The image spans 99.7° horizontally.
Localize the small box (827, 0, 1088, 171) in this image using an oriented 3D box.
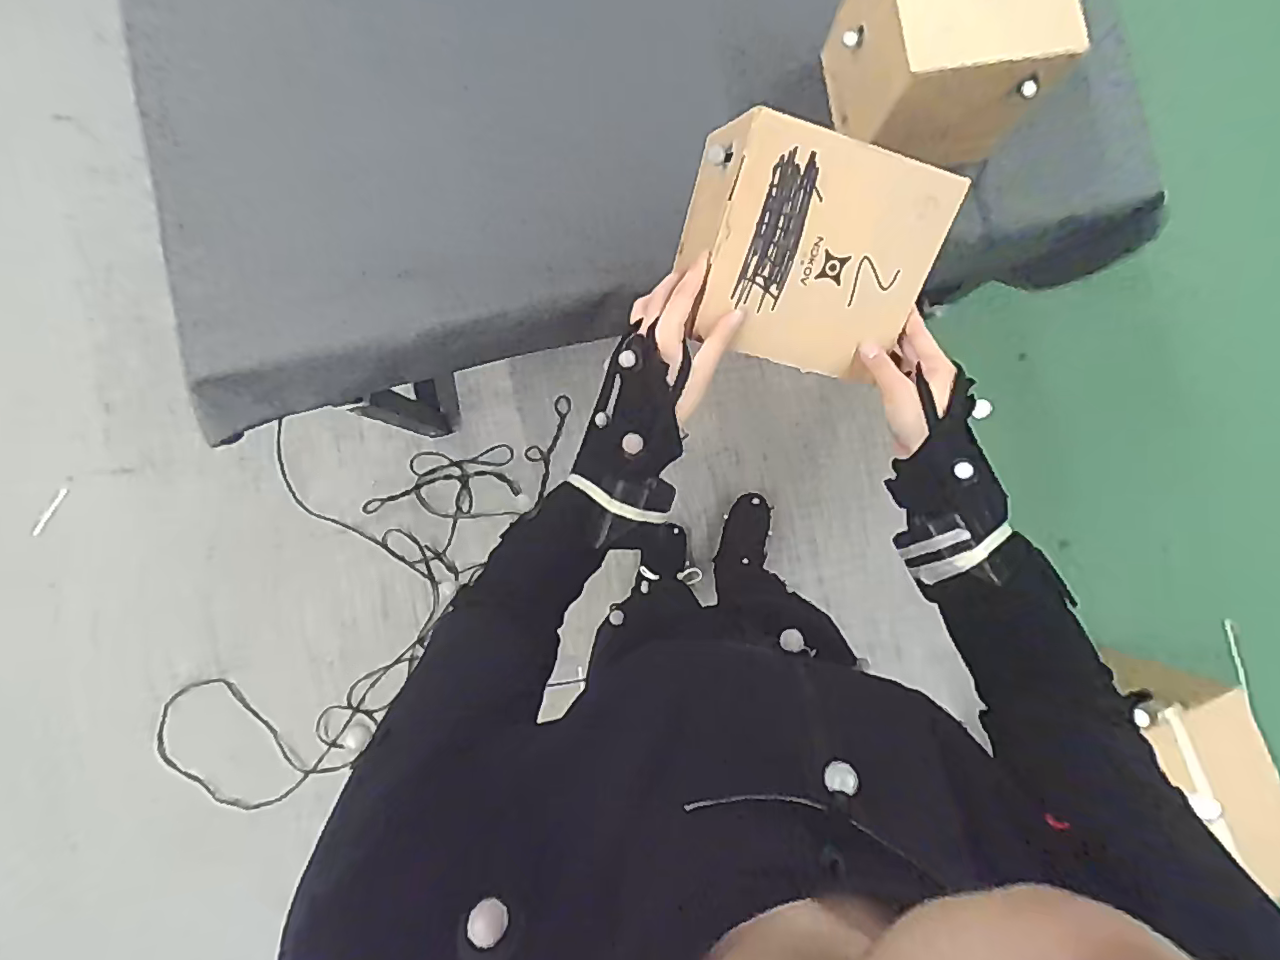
[{"bbox_3d":[0.318,-0.466,0.584,0.179,0.176,0.168,-9,87,-2],"label":"small box"}]
